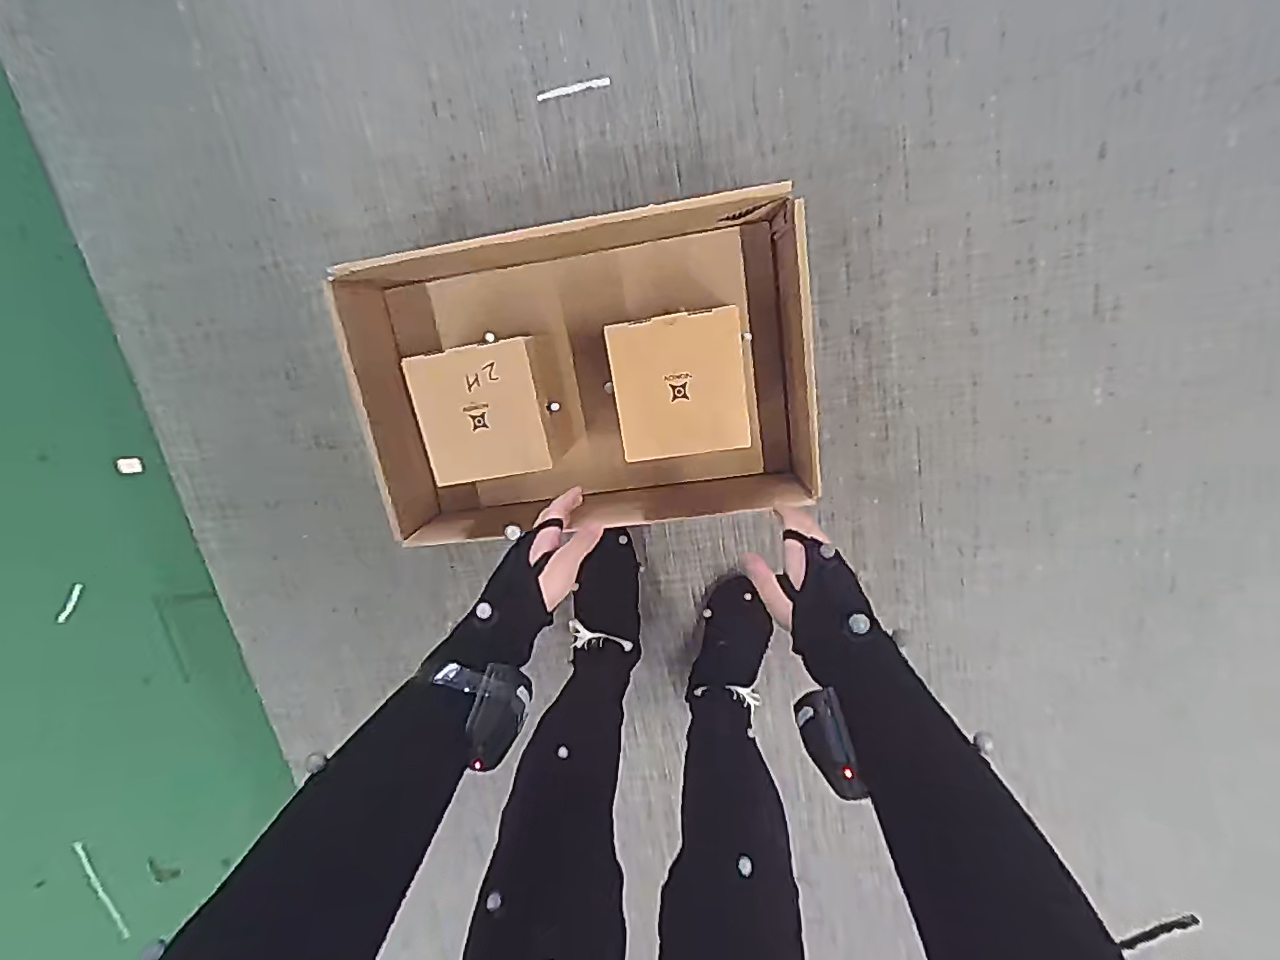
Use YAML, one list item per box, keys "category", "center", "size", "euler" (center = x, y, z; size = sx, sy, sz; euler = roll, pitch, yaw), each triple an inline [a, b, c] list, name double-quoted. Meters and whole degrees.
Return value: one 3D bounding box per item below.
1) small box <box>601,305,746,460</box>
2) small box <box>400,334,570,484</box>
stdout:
- category: "small box"
  center: [0.052, -0.139, 0.746]
  size: [0.168, 0.176, 0.179]
  euler: [-7, 105, 7]
- category: "small box"
  center: [-0.206, -0.109, 0.776]
  size: [0.168, 0.176, 0.179]
  euler: [-8, 105, 6]
